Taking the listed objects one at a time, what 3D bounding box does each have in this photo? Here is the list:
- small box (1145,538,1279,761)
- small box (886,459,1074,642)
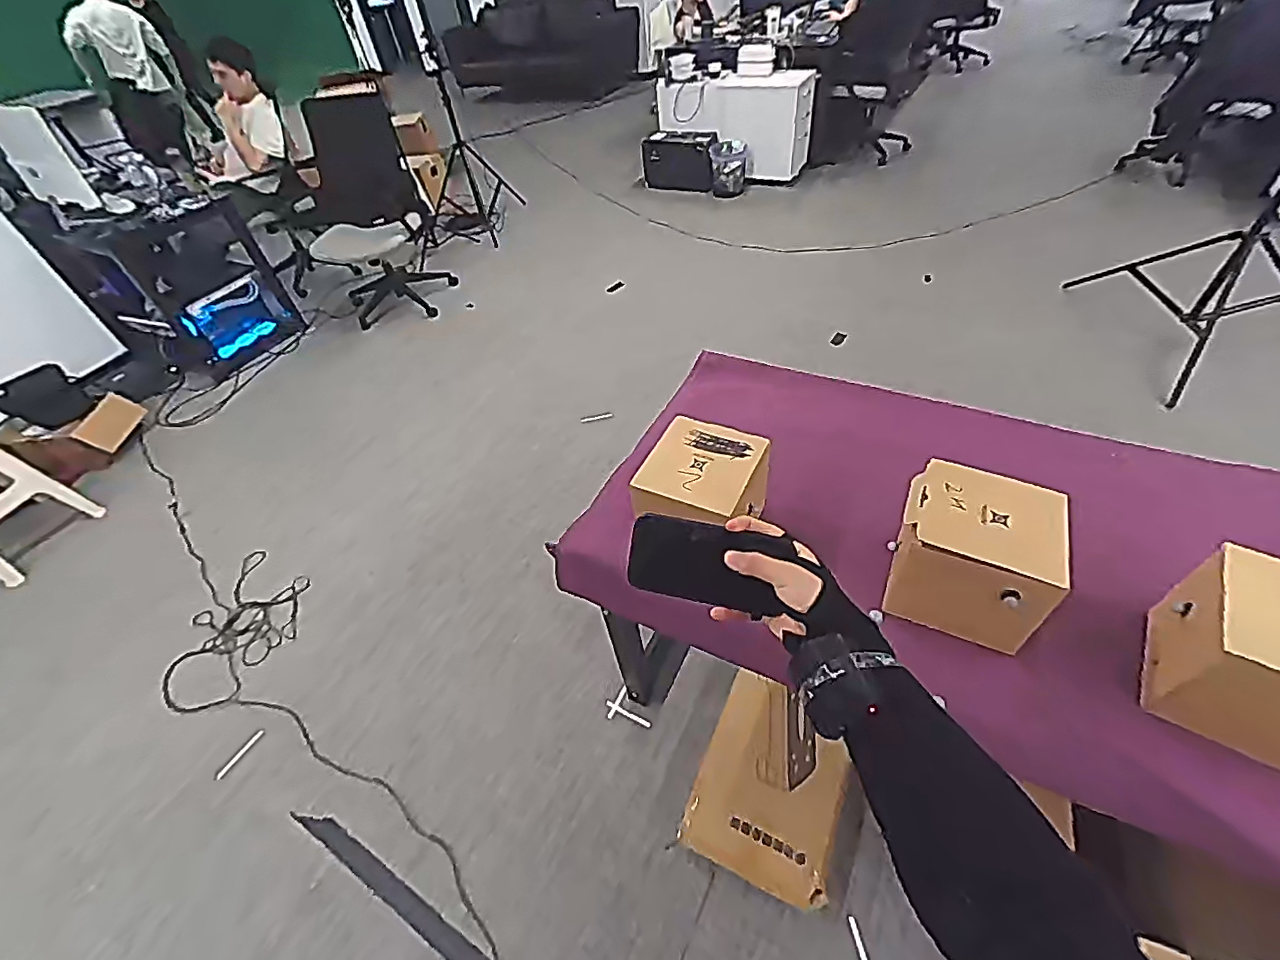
[{"bbox_3d":[0.740,0.204,0.629,0.179,0.176,0.168,23,54,26],"label":"small box"},{"bbox_3d":[0.470,0.102,0.762,0.179,0.176,0.168,17,49,22],"label":"small box"}]
